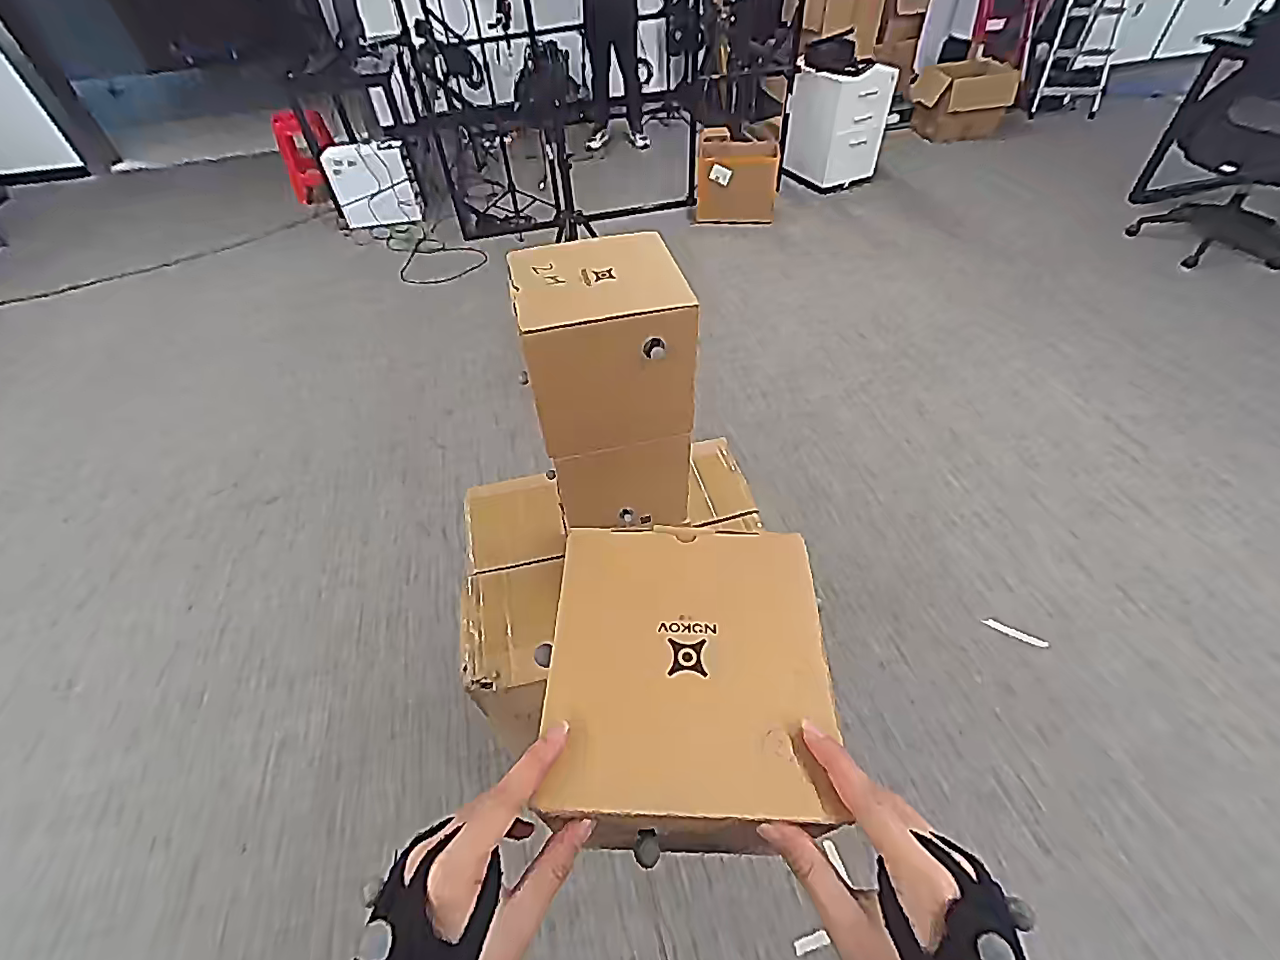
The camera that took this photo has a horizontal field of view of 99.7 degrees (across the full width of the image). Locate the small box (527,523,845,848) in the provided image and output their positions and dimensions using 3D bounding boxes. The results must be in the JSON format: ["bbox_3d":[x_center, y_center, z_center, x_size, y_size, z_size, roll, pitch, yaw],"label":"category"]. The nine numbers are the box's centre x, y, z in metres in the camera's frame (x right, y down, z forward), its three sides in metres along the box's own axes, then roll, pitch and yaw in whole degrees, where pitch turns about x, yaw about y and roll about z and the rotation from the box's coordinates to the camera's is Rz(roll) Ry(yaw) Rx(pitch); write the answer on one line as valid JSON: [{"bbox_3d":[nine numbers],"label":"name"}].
[{"bbox_3d":[0.029,0.149,0.386,0.168,0.176,0.179,0,49,2],"label":"small box"}]

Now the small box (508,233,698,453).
[{"bbox_3d":[-0.043,-0.154,0.618,0.179,0.176,0.168,-12,48,-7],"label":"small box"}]

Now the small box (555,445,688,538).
[{"bbox_3d":[-0.027,0.073,0.857,0.179,0.176,0.168,-11,48,-7],"label":"small box"}]
